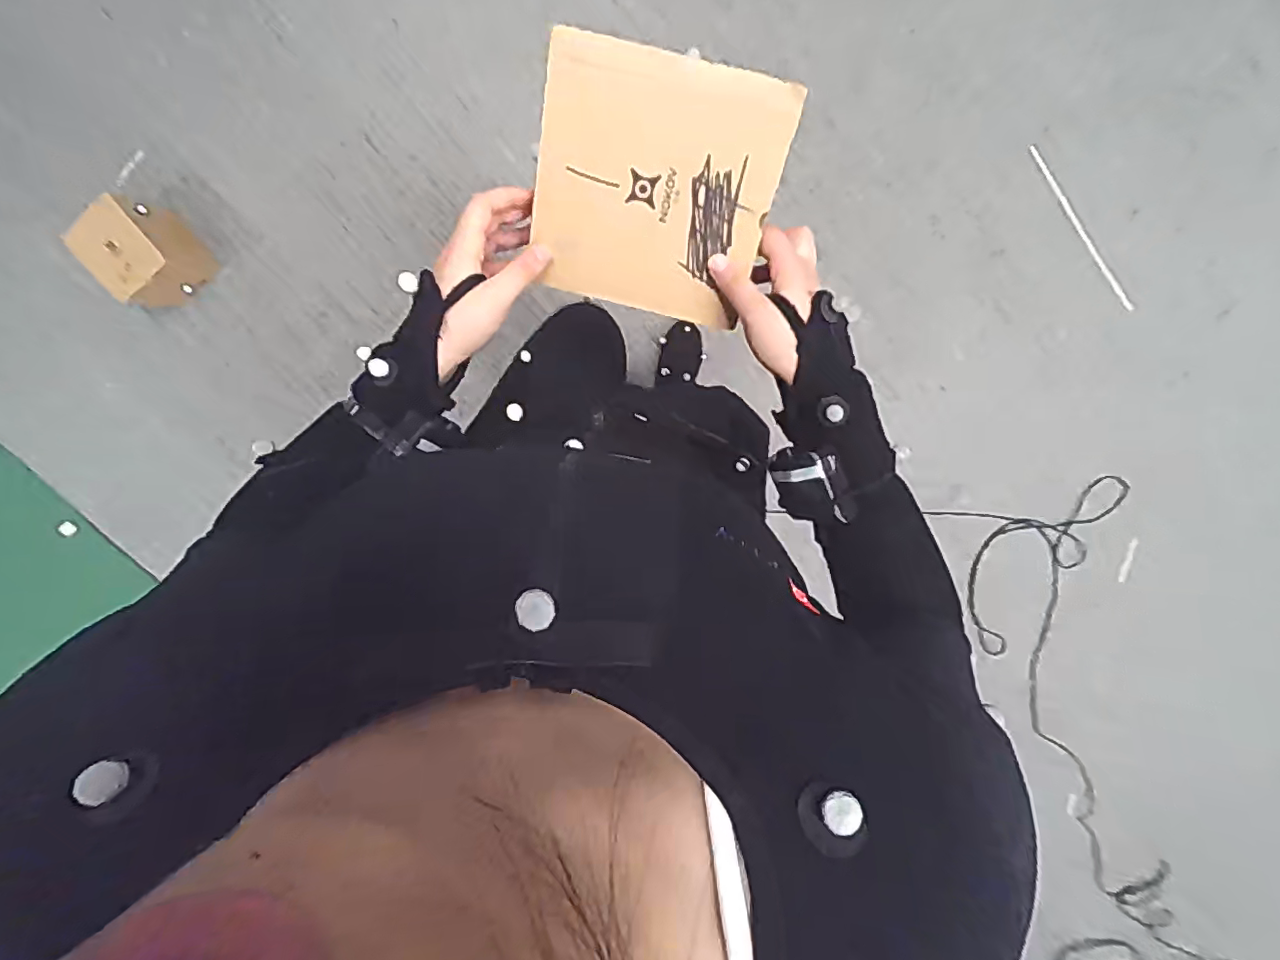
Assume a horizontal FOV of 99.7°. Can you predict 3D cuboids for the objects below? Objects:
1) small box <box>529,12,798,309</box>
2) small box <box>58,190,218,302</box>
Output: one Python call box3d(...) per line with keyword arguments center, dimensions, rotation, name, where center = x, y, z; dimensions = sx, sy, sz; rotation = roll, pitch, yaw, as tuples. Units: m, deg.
box3d(center=(0.007, -0.267, 0.474), dimensions=(0.179, 0.176, 0.168), rotation=(9, 119, -9), name="small box")
box3d(center=(-1.167, -0.536, 1.271), dimensions=(0.168, 0.176, 0.179), rotation=(-33, 104, 11), name="small box")
